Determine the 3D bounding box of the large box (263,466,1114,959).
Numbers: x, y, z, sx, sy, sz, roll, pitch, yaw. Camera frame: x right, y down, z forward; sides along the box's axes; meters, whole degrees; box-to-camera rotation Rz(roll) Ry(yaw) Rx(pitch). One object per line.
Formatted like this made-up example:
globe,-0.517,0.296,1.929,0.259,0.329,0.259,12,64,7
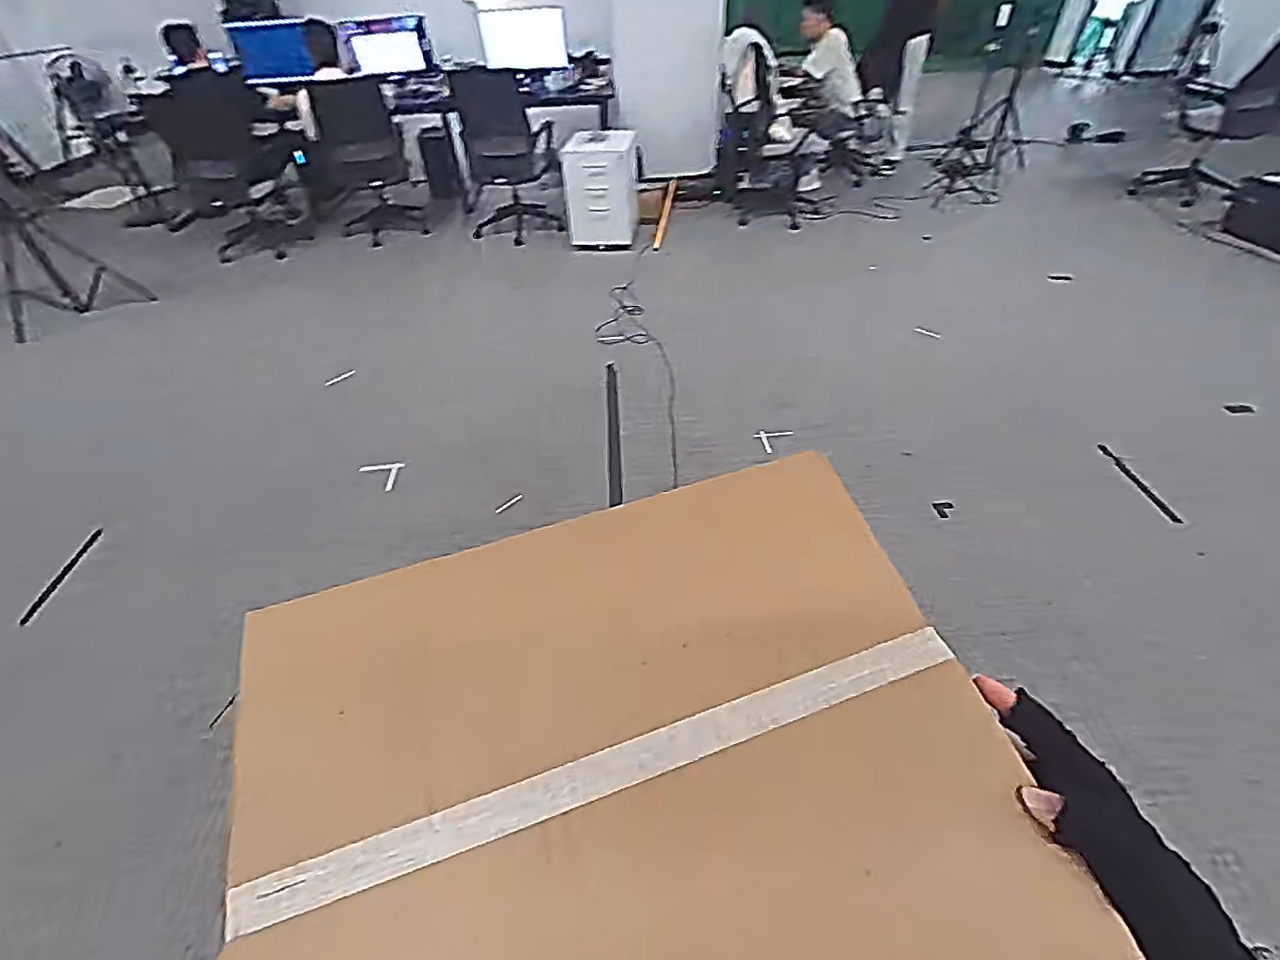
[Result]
large box,0.003,0.242,0.431,0.408,0.320,0.320,-16,58,-9
